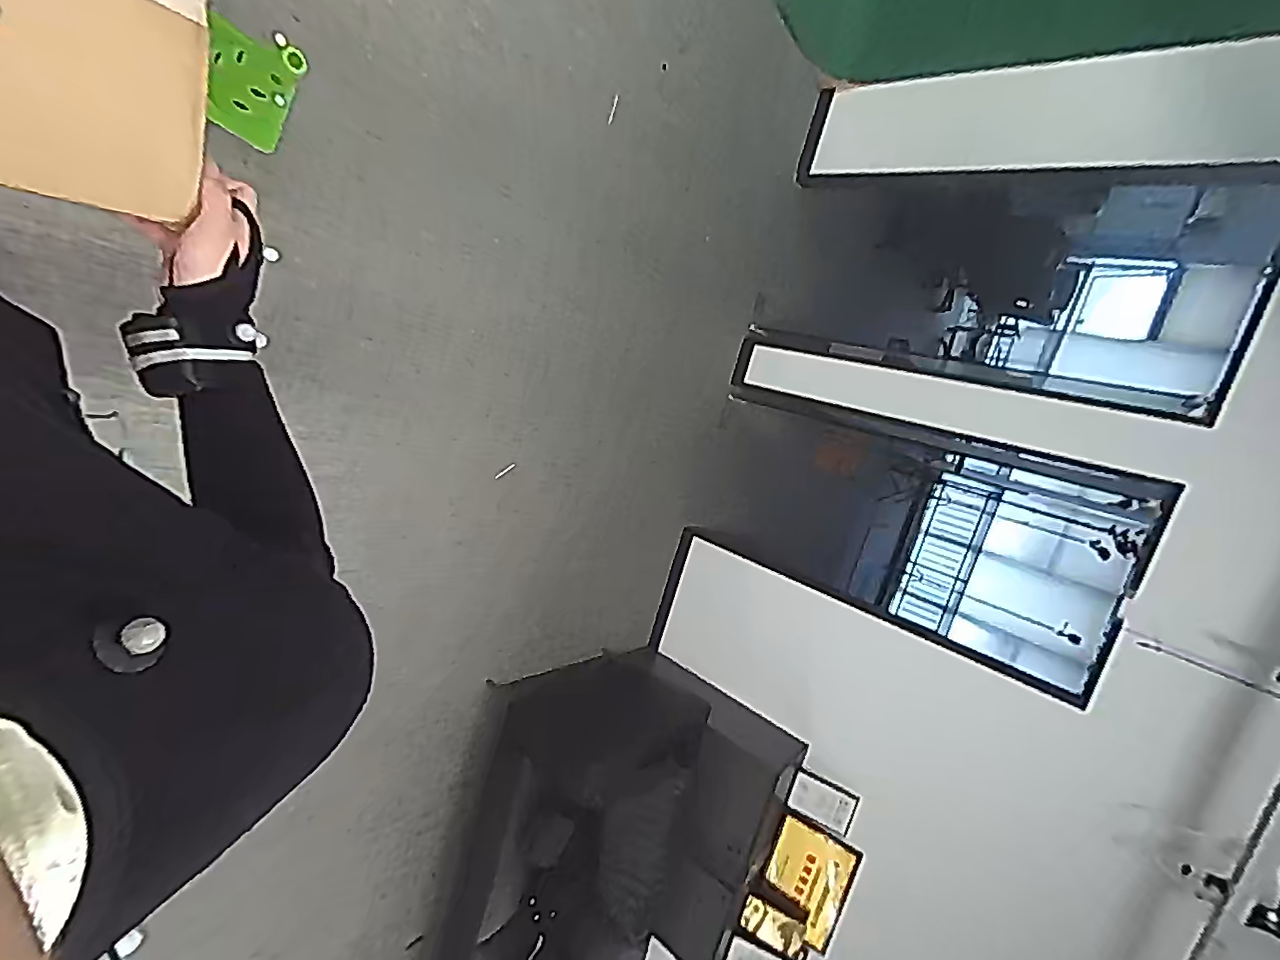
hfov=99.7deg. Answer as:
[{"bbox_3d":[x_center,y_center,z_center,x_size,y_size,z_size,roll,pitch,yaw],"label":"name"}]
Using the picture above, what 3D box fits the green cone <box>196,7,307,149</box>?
[{"bbox_3d":[-0.772,-0.835,1.104,0.200,0.368,0.202,17,93,-55],"label":"green cone"}]
